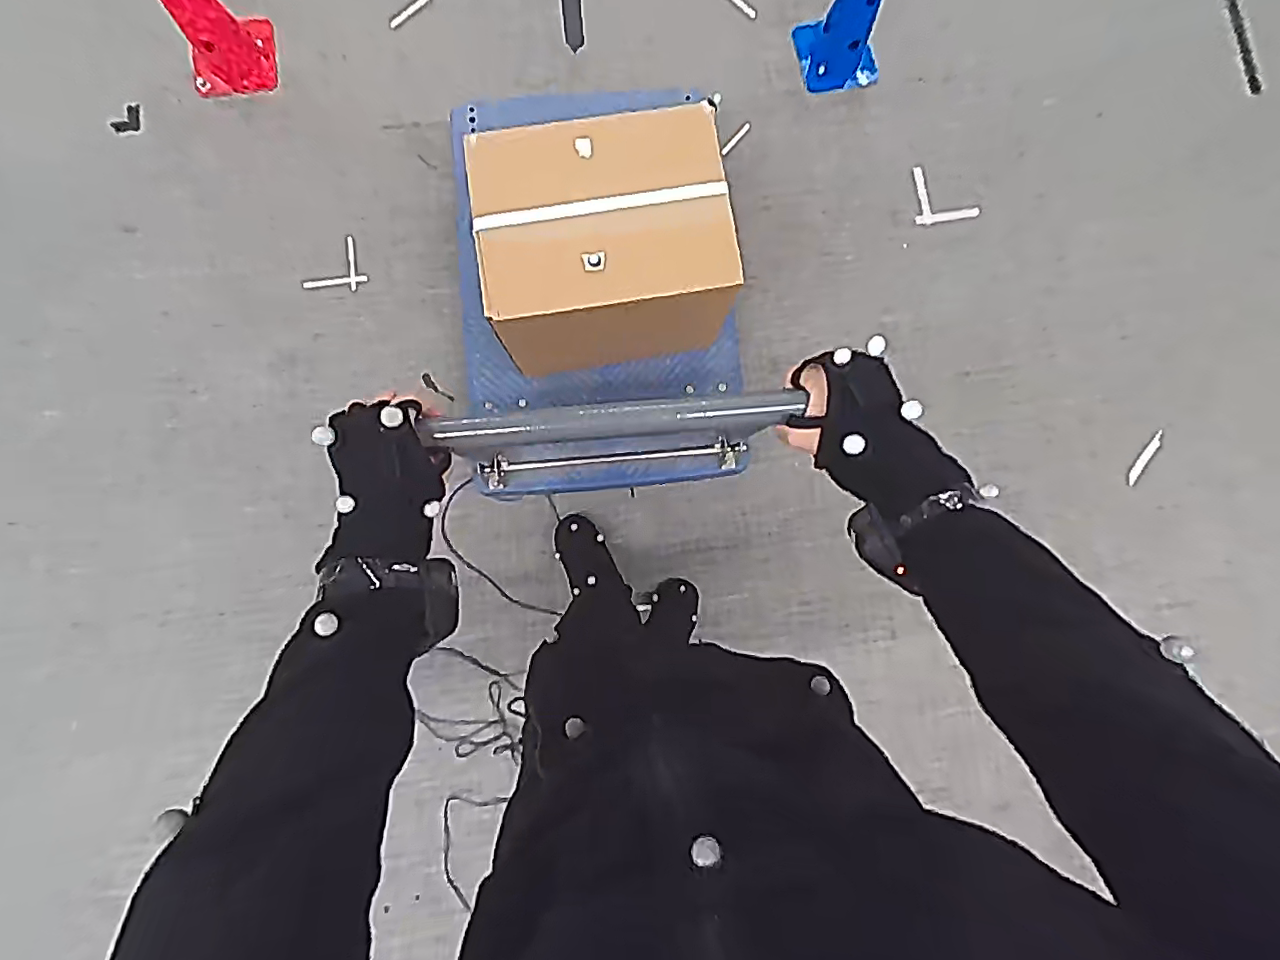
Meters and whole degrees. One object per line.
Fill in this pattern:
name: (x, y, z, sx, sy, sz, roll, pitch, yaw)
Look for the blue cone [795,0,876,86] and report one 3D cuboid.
blue cone: (0.526, -1.156, 1.271, 0.193, 0.380, 0.192, -11, 84, -4)
